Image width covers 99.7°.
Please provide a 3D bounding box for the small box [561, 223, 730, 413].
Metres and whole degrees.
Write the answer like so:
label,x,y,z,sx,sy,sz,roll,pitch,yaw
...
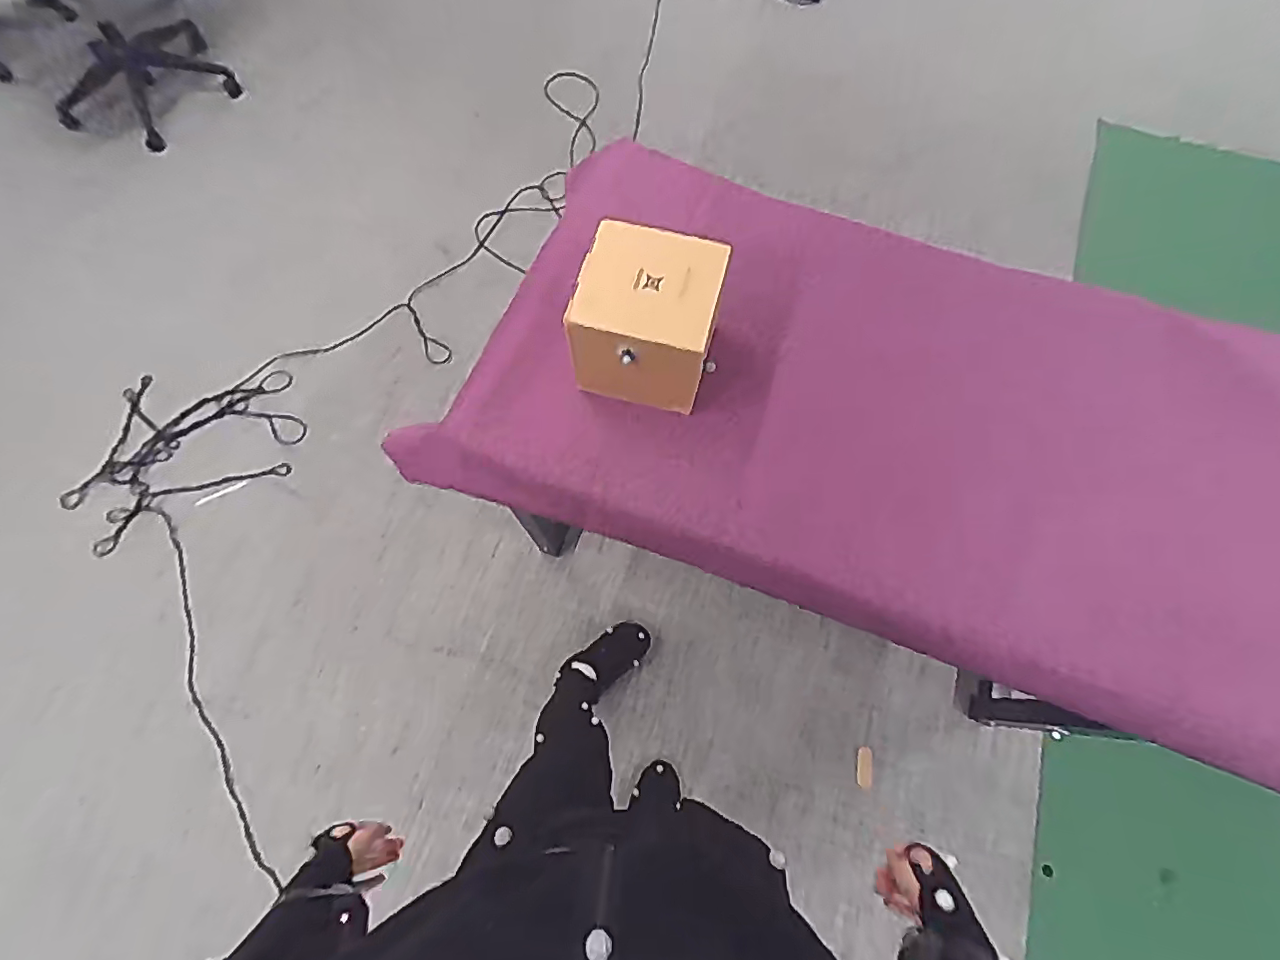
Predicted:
label,x,y,z,sx,sy,sz,roll,pitch,yaw
small box,0.009,-0.211,0.739,0.179,0.176,0.168,15,70,5
